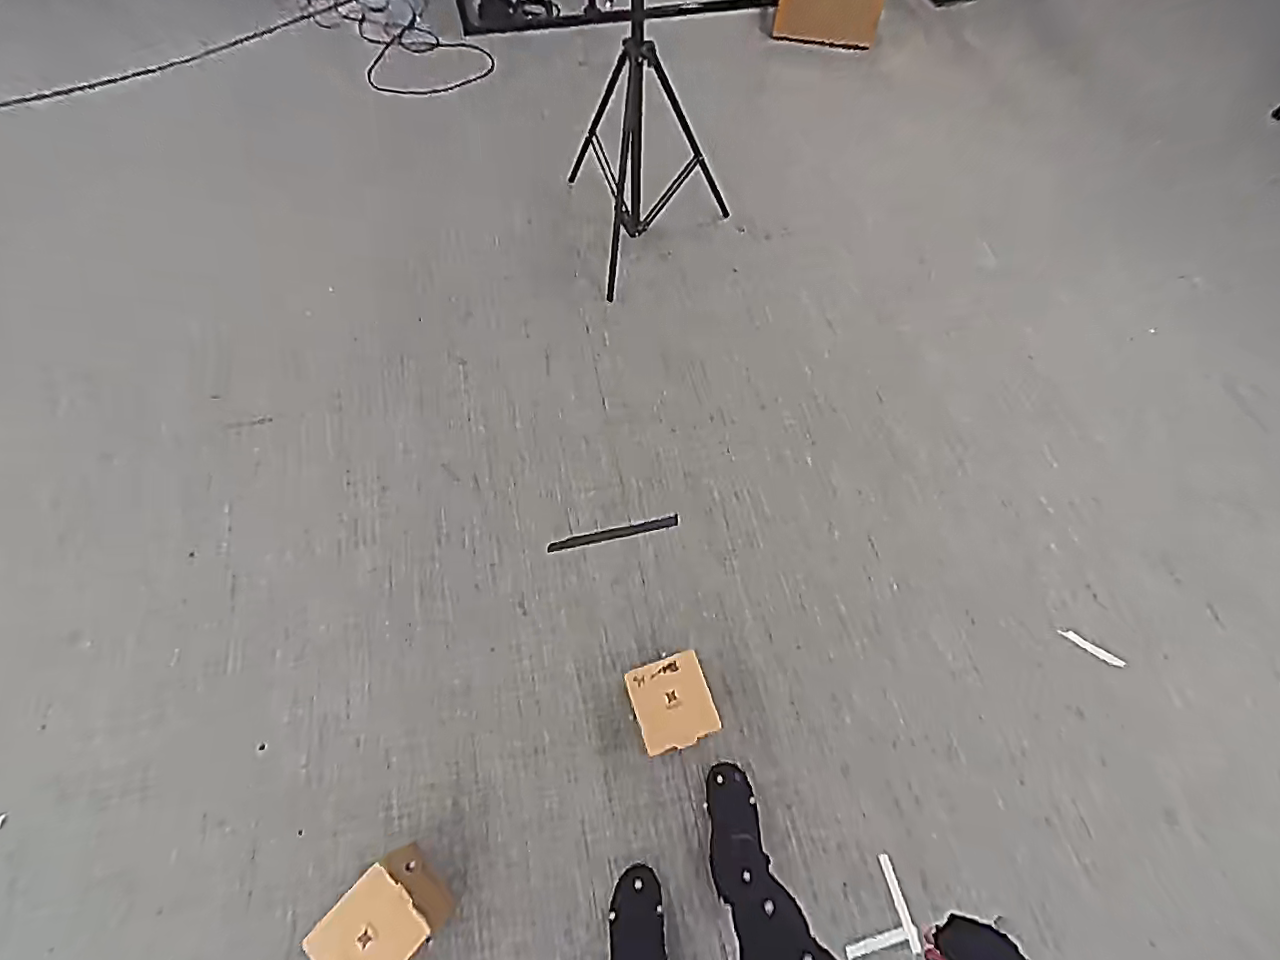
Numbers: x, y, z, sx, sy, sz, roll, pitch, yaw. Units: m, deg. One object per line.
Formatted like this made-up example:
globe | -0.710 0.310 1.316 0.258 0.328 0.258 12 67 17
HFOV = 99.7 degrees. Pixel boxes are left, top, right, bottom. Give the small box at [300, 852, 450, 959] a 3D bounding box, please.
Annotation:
small box | -0.493 0.864 1.043 0.168 0.176 0.179 39 71 17

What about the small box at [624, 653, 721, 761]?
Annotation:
small box | 0.067 0.507 1.216 0.168 0.176 0.179 -17 68 -9
